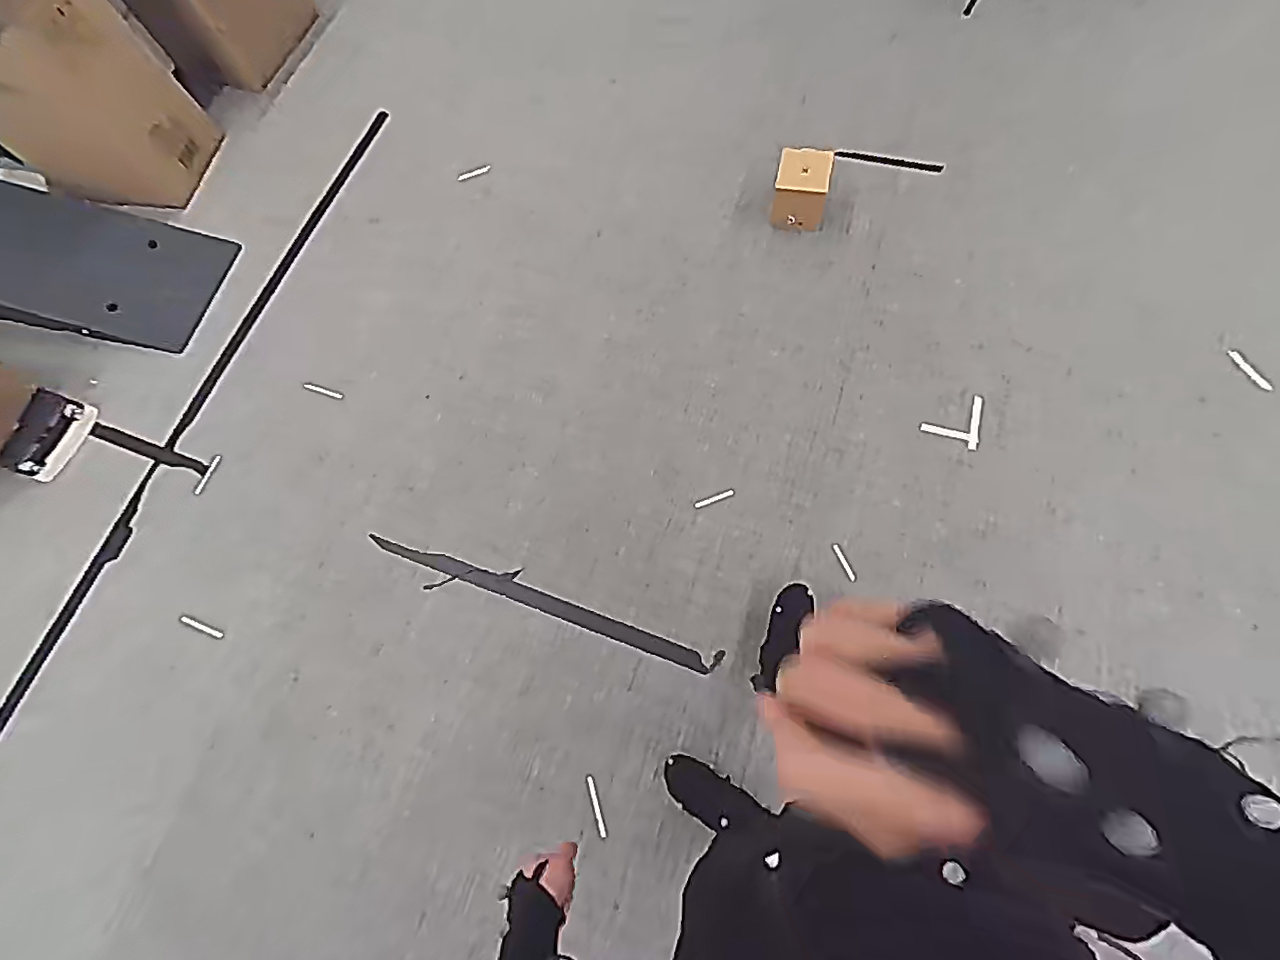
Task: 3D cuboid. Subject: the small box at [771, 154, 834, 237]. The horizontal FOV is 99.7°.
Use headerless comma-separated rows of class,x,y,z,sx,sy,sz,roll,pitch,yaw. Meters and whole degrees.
small box,0.543,-0.956,1.821,0.168,0.176,0.179,11,73,10
